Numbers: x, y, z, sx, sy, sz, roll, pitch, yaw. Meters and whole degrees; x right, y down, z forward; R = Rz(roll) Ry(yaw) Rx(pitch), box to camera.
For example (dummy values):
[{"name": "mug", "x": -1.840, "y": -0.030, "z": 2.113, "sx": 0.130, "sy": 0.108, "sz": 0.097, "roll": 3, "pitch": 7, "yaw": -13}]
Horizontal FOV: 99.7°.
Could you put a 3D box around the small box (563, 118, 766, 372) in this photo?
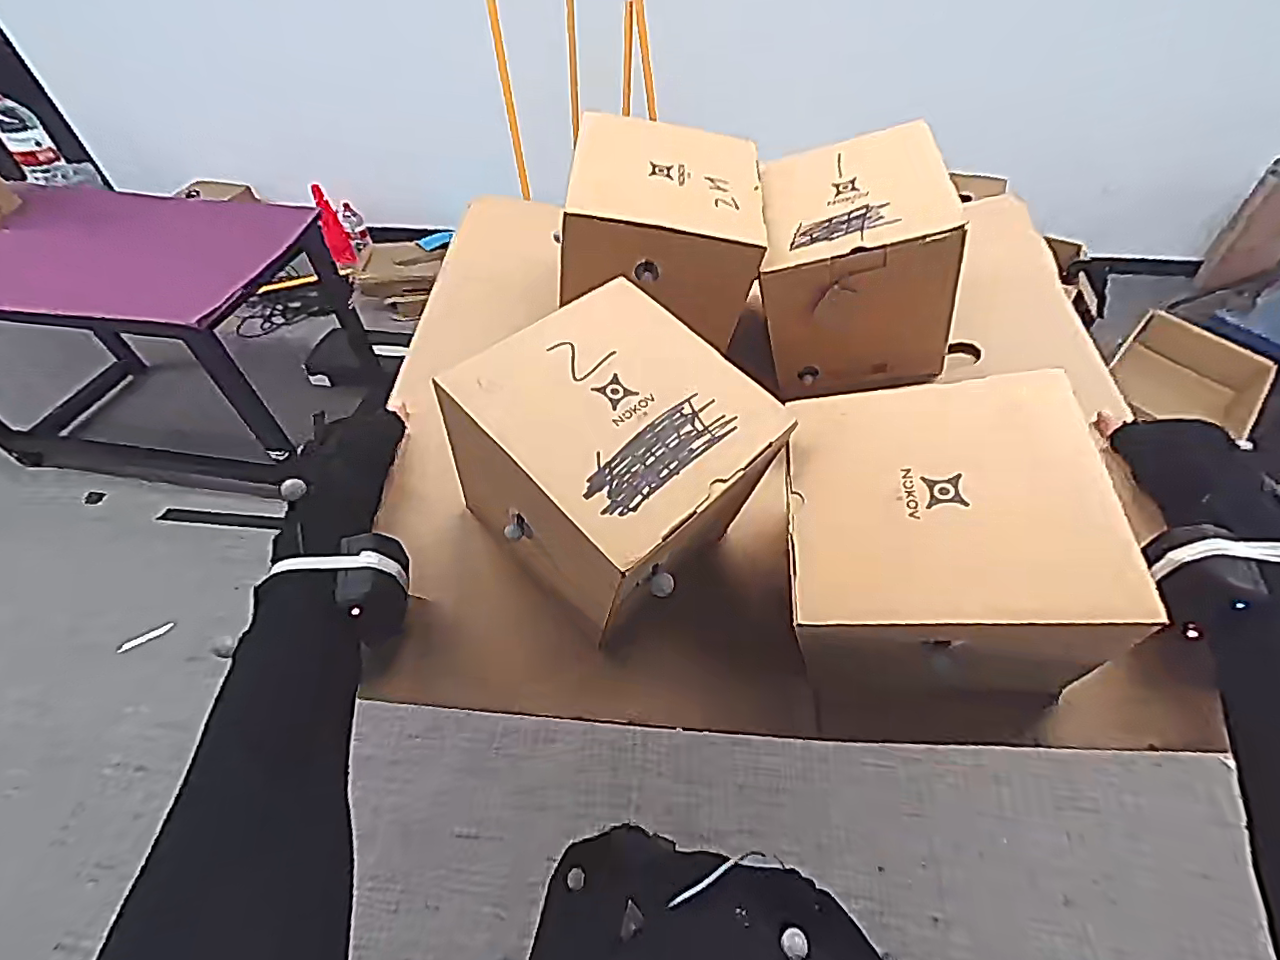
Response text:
[{"name": "small box", "x": 0.016, "y": -0.233, "z": 0.561, "sx": 0.179, "sy": 0.176, "sz": 0.168, "roll": 8, "pitch": 59, "yaw": -6}]
